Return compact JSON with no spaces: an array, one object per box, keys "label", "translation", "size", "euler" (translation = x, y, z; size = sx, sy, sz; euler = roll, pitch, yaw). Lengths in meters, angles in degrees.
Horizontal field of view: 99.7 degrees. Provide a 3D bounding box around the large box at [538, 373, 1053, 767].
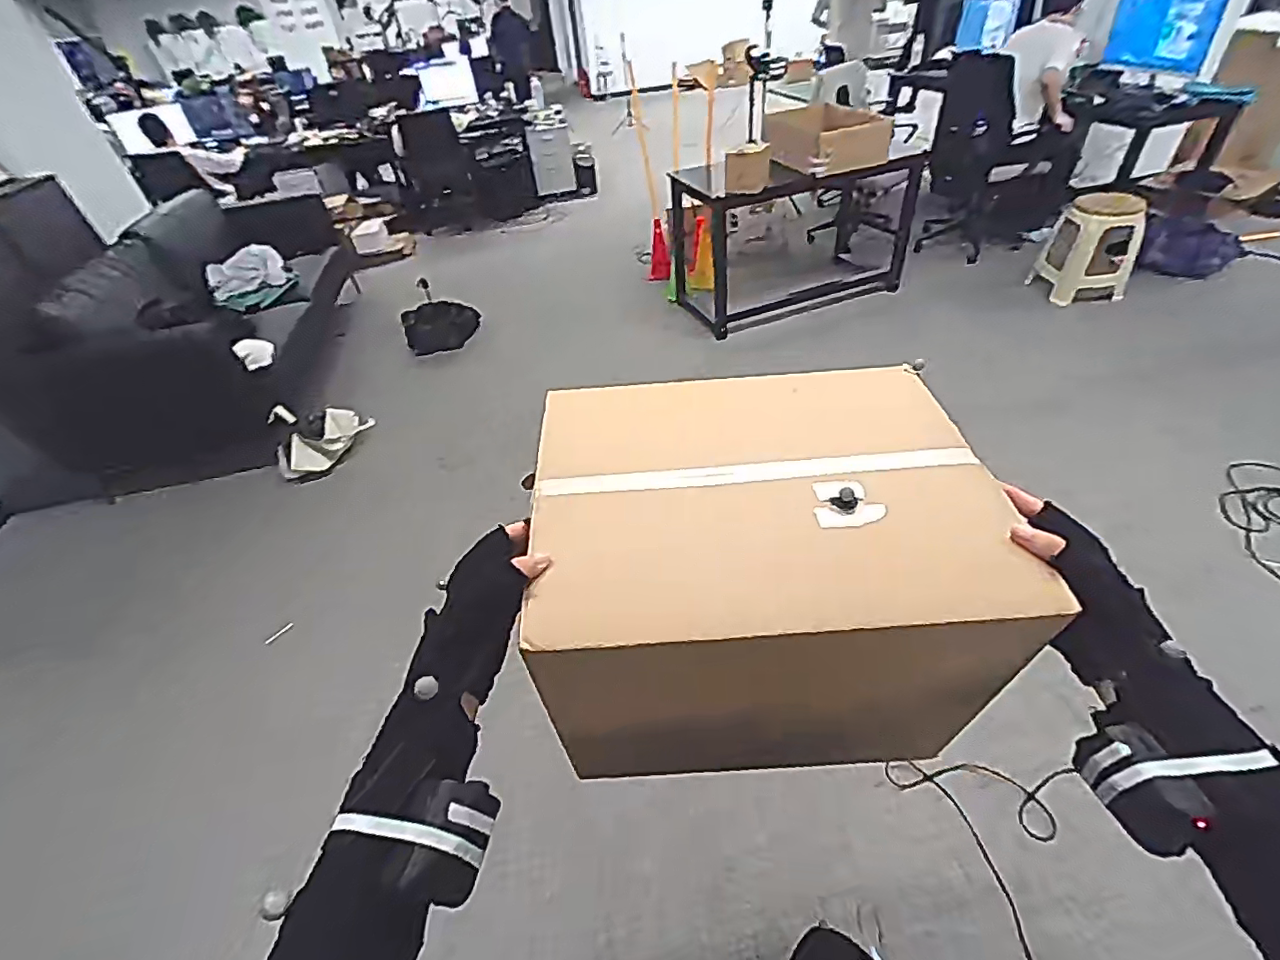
[{"label":"large box","translation":[0.116,0.103,0.617],"size":[0.408,0.320,0.320],"euler":[-3,46,0]}]
